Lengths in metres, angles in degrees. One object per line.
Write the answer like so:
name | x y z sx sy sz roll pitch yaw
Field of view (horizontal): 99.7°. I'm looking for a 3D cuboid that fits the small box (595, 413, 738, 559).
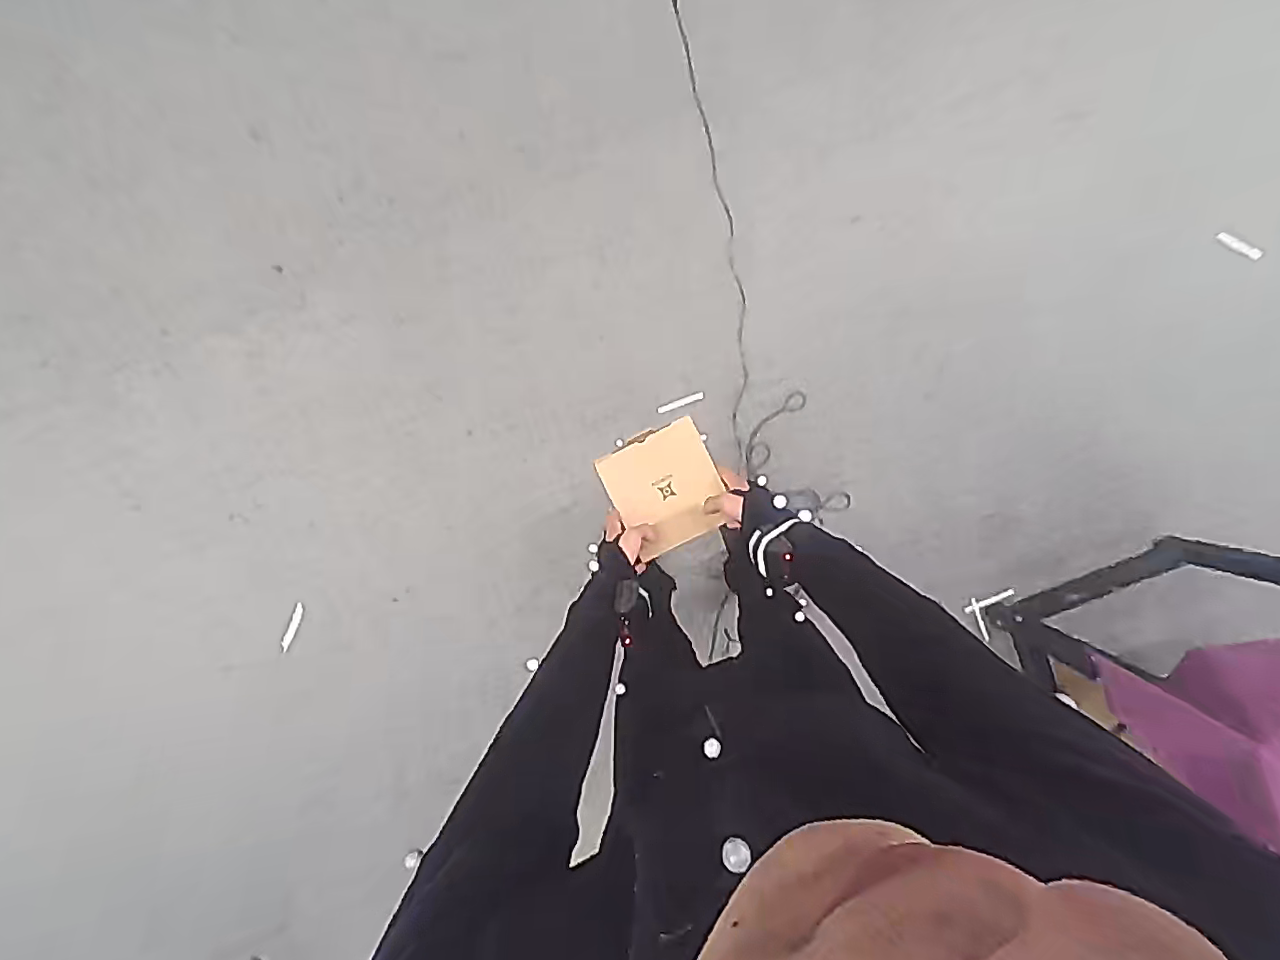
small box | 0.041 0.007 0.894 0.168 0.176 0.179 -26 92 3
